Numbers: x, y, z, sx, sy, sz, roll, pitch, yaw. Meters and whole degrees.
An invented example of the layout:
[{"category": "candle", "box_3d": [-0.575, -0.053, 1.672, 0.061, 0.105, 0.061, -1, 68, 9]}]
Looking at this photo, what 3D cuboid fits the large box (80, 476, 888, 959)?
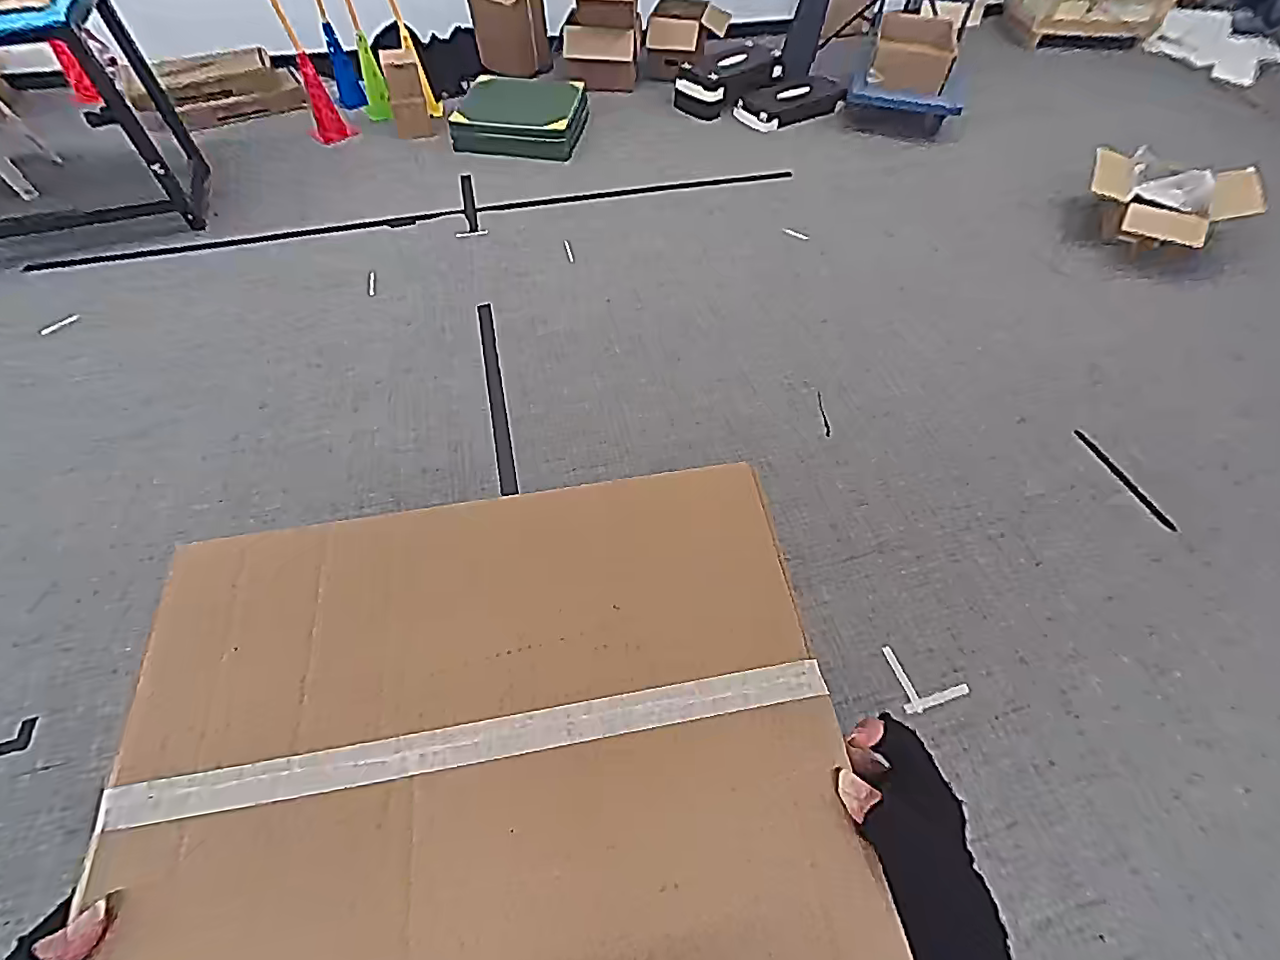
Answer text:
[{"category": "large box", "box_3d": [-0.092, 0.230, 0.448, 0.408, 0.320, 0.320, -9, 60, -4]}]
